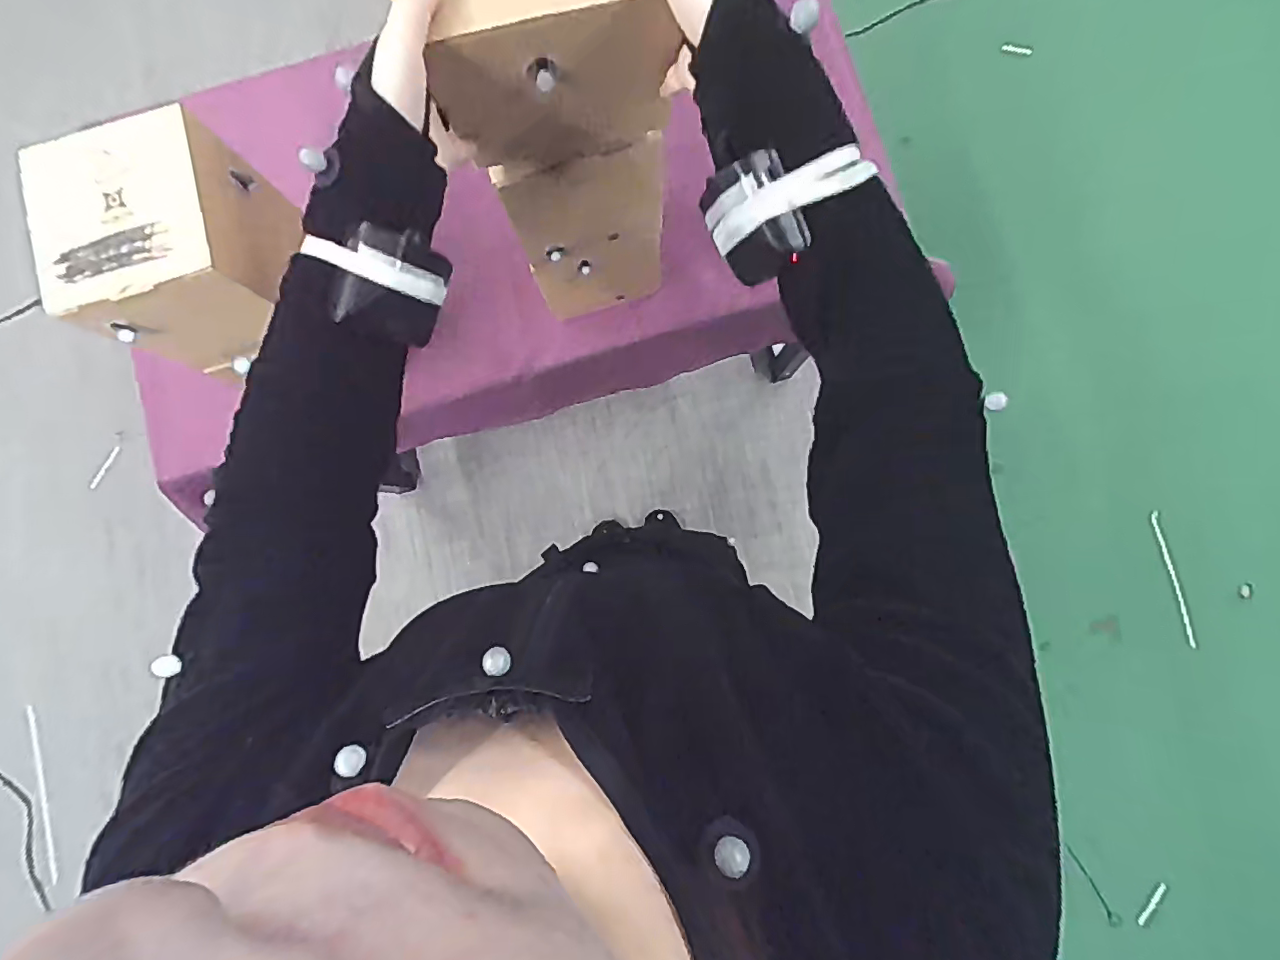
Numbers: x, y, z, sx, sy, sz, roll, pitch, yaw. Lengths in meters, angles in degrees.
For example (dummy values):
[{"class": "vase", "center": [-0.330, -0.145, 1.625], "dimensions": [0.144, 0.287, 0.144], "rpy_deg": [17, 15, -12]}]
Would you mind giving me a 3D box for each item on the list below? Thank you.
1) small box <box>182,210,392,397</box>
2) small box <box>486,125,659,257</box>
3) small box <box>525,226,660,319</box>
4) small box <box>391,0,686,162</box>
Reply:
[{"class": "small box", "center": [-0.477, -0.234, 0.755], "dimensions": [0.168, 0.176, 0.179], "rpy_deg": [-15, 86, 1]}, {"class": "small box", "center": [-0.078, -0.368, 0.588], "dimensions": [0.168, 0.176, 0.179], "rpy_deg": [-17, 85, 0]}, {"class": "small box", "center": [-0.074, -0.354, 0.752], "dimensions": [0.168, 0.176, 0.179], "rpy_deg": [-16, 84, 2]}, {"class": "small box", "center": [-0.072, -0.355, 0.385], "dimensions": [0.179, 0.176, 0.168], "rpy_deg": [-12, 101, -1]}]
